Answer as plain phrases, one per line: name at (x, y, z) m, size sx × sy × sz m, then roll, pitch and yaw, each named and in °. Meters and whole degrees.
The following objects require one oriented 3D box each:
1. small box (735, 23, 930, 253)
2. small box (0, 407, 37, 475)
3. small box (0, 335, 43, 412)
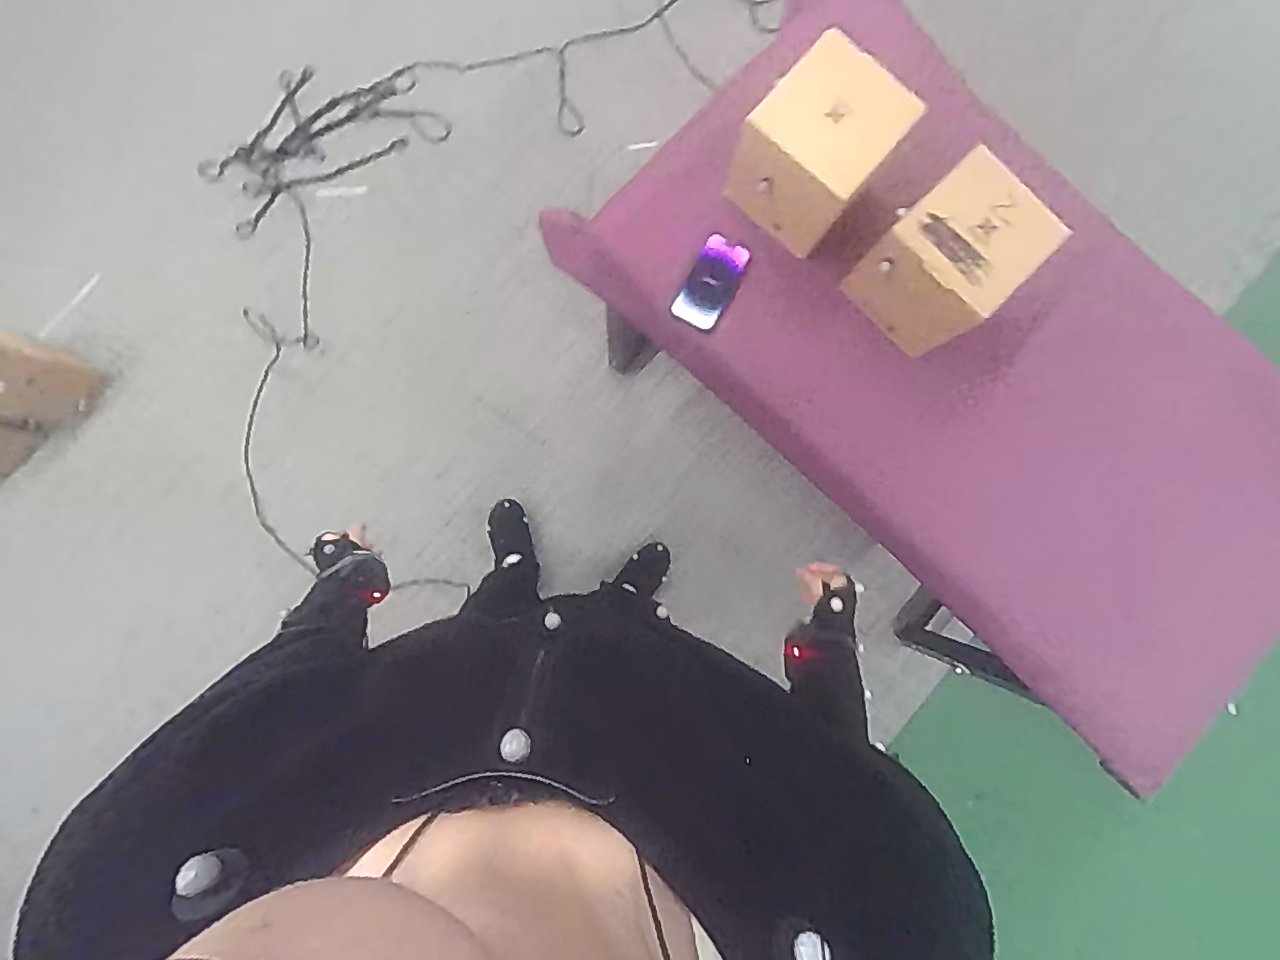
small box at (0.253, -0.463, 0.762) m, size 0.168 × 0.176 × 0.179 m, roll 41°, pitch 85°, yaw 1°
small box at (-1.721, -0.125, 1.374) m, size 0.168 × 0.176 × 0.179 m, roll 42°, pitch 86°, yaw 1°
small box at (-1.549, -0.267, 1.229) m, size 0.179 × 0.176 × 0.168 m, roll 24°, pitch 86°, yaw 0°
